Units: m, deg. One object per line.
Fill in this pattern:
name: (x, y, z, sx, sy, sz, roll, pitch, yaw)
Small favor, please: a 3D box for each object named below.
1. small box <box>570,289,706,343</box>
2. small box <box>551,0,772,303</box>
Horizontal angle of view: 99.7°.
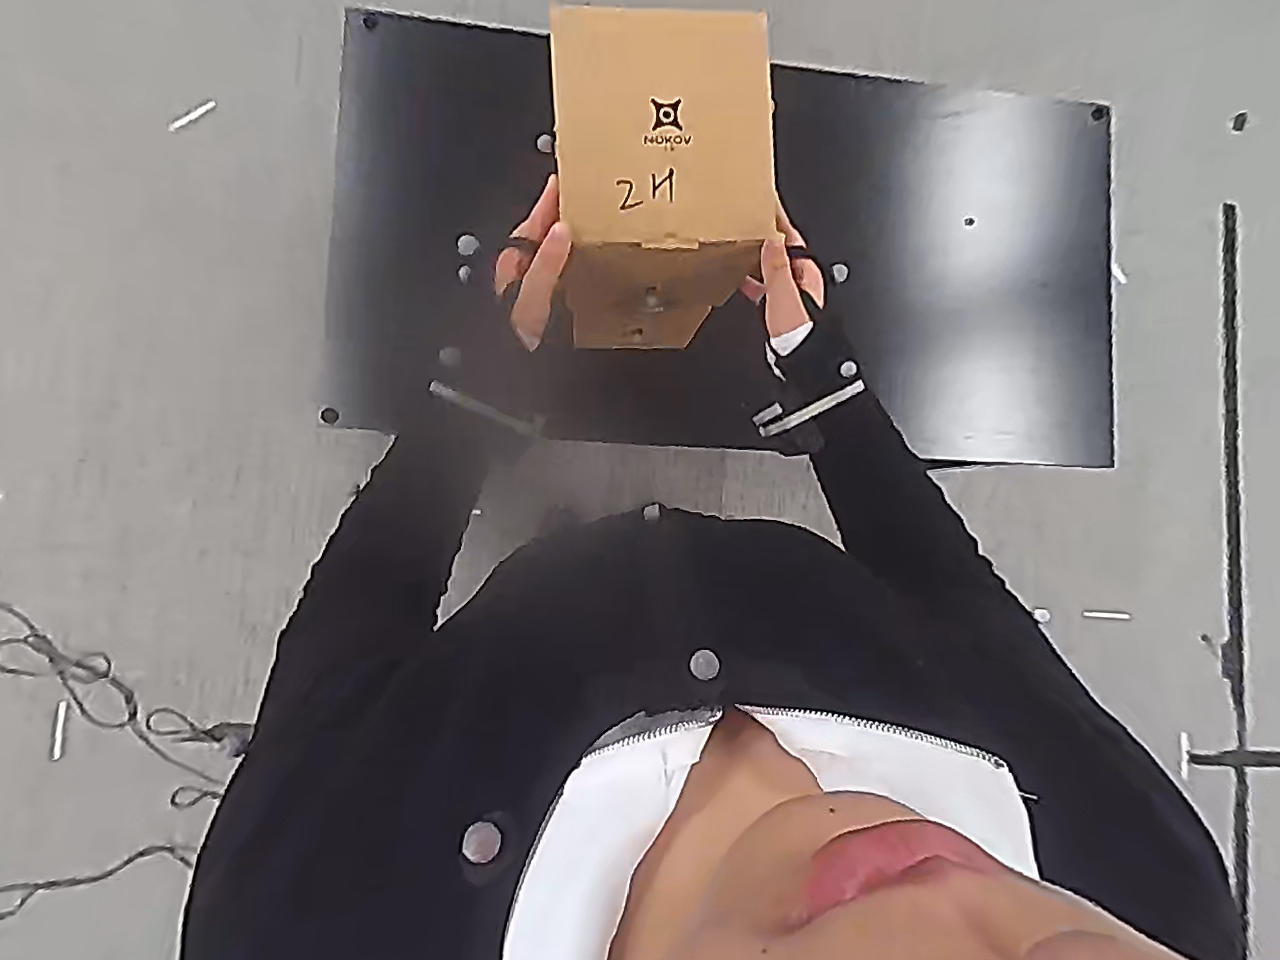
small box: (-0.009, -0.288, 0.721, 0.168, 0.176, 0.179, -2, 88, -6)
small box: (0.009, -0.271, 0.481, 0.168, 0.176, 0.179, -2, 92, -5)
